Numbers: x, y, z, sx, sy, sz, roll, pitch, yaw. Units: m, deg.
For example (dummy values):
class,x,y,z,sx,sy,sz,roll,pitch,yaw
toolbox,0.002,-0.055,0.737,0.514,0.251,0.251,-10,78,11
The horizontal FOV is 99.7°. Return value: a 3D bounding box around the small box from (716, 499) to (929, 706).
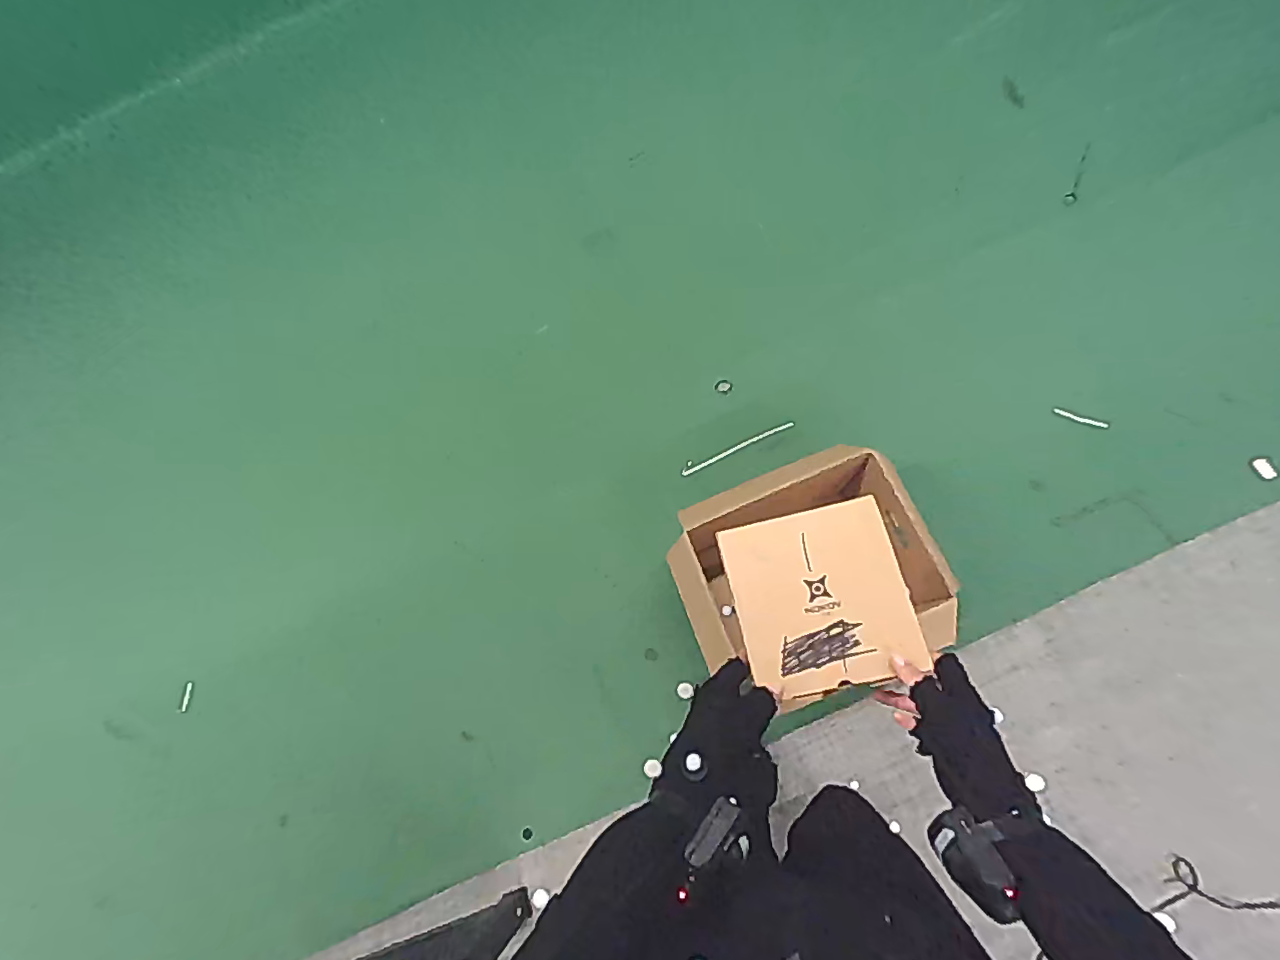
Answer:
class,x,y,z,sx,sy,sz,roll,pitch,yaw
small box,0.189,0.138,0.609,0.168,0.176,0.179,-14,72,6
